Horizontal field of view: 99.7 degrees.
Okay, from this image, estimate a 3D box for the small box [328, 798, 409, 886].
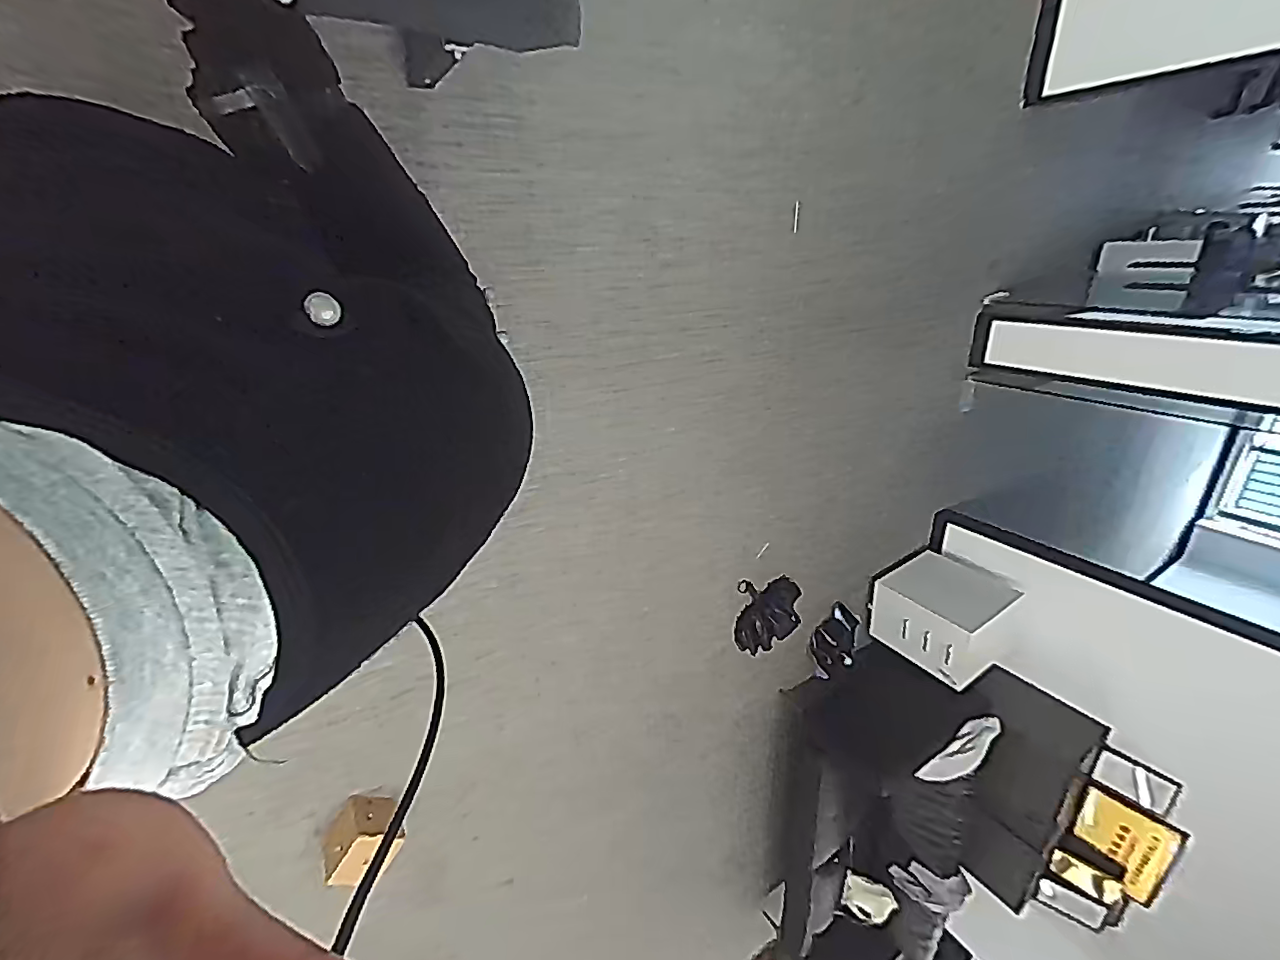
[{"bbox_3d":[-0.892,1.175,1.764,0.168,0.176,0.179,34,88,-39],"label":"small box"}]
